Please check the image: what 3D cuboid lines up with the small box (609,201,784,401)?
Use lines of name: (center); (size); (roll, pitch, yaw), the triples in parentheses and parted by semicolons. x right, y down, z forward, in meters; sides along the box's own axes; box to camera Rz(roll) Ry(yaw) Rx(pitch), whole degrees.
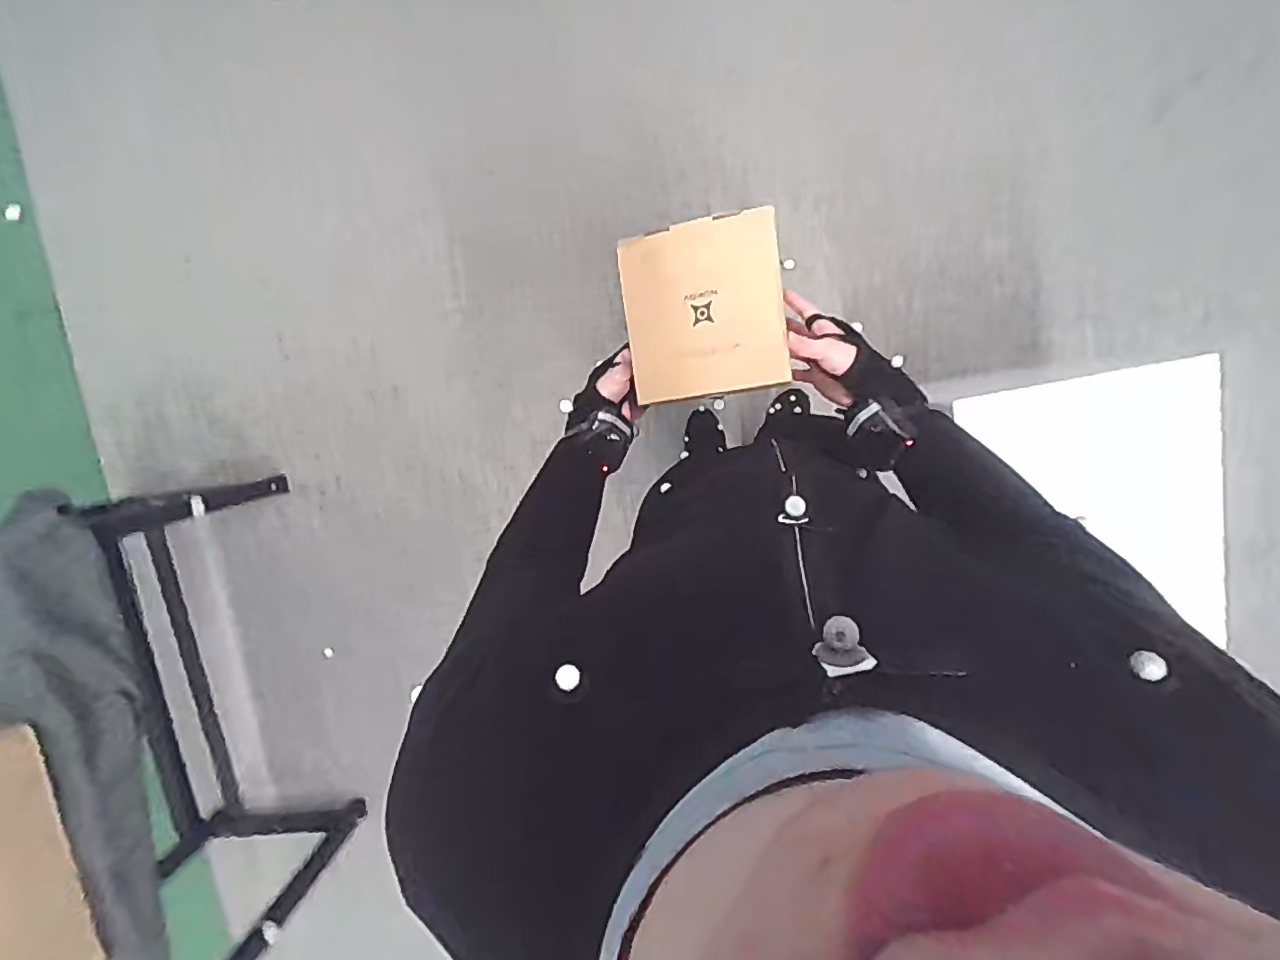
small box: (0.075, -0.192, 0.637); (0.168, 0.176, 0.179); (-7, 96, 16)
